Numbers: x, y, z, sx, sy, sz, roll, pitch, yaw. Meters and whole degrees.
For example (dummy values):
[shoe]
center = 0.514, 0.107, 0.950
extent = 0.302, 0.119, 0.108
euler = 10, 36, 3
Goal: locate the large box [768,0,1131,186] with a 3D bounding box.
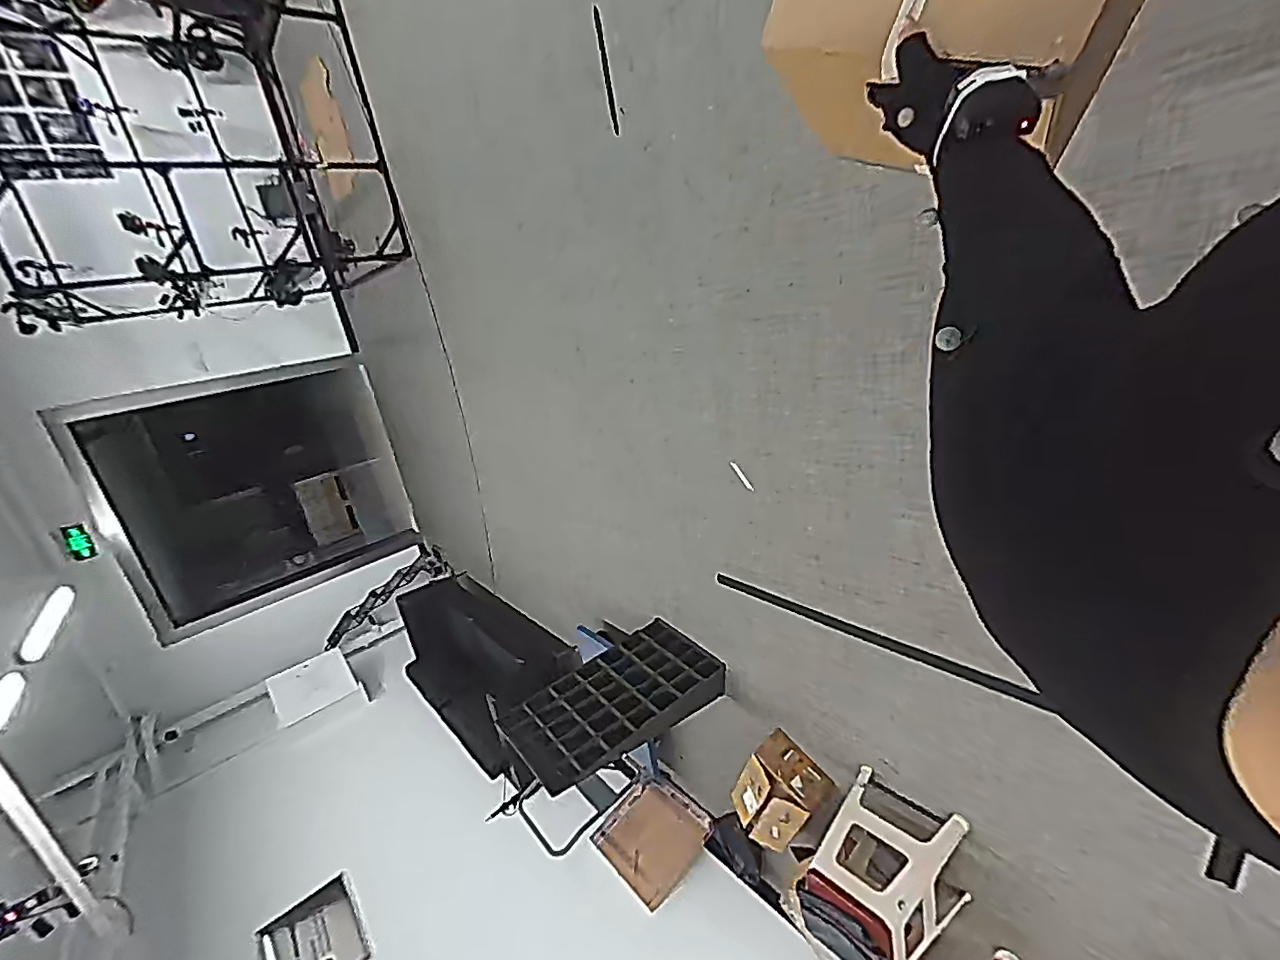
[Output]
[large box]
center = 0.405, -0.624, 0.621
extent = 0.320, 0.320, 0.408
euler = 29, 112, 28
